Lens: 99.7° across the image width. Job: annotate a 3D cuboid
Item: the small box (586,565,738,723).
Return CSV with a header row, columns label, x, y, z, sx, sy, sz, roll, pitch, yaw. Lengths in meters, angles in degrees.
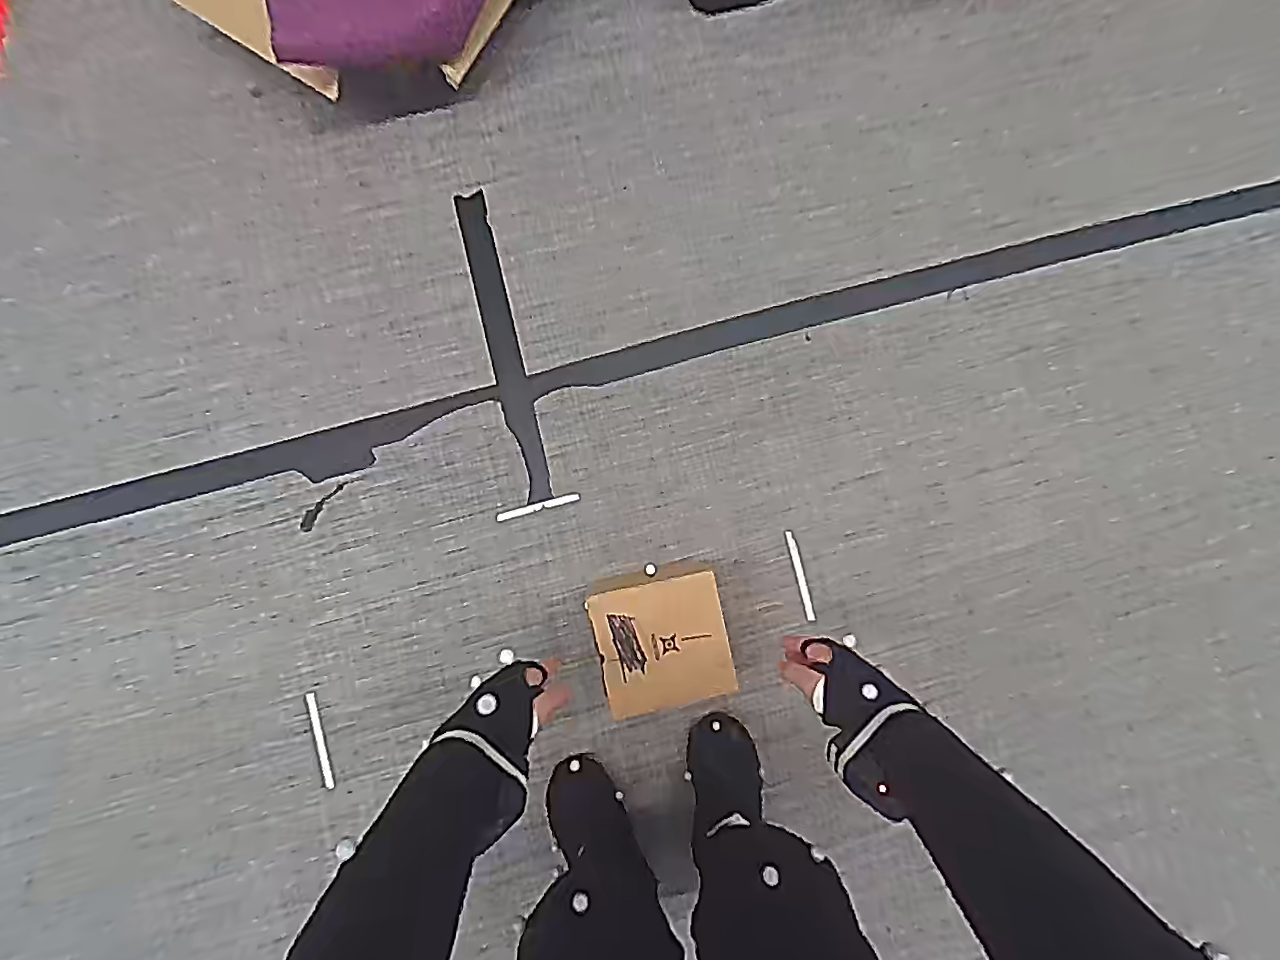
label,x,y,z,sx,sy,sz,roll,pitch,yaw
small box,0.026,0.226,0.789,0.179,0.176,0.168,-12,88,-4
